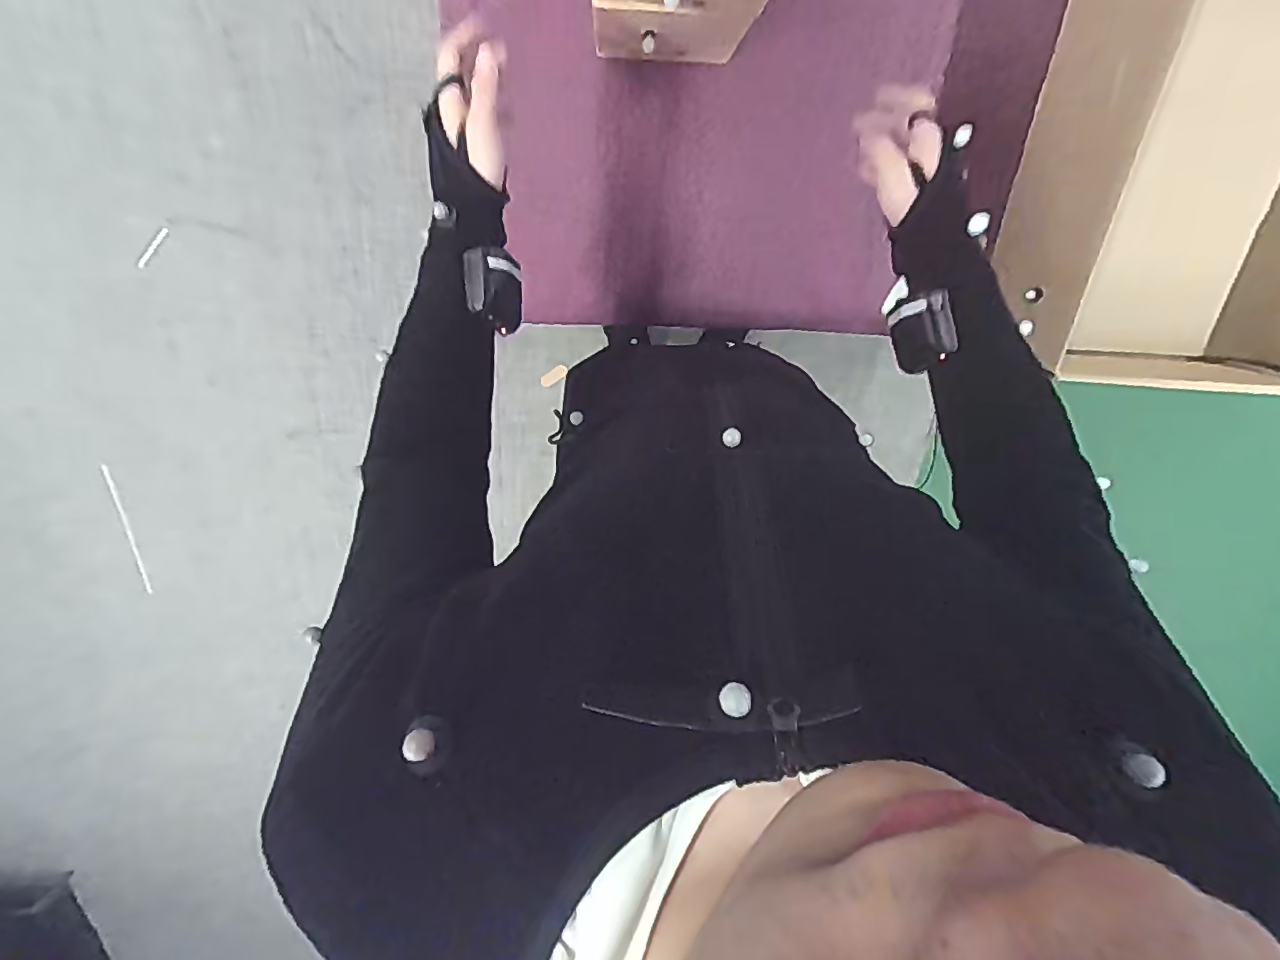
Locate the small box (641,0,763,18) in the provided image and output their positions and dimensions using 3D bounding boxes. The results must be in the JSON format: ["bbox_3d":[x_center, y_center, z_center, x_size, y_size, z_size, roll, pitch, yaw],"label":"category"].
[{"bbox_3d":[0.047,-0.510,0.420,0.168,0.176,0.179,5,114,-4],"label":"small box"}]

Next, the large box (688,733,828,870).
[{"bbox_3d":[0.444,1.274,2.103,0.408,0.320,0.320,-28,113,9],"label":"large box"}]

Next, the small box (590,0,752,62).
[{"bbox_3d":[0.034,-0.573,0.572,0.168,0.176,0.179,1,113,-2],"label":"small box"}]
